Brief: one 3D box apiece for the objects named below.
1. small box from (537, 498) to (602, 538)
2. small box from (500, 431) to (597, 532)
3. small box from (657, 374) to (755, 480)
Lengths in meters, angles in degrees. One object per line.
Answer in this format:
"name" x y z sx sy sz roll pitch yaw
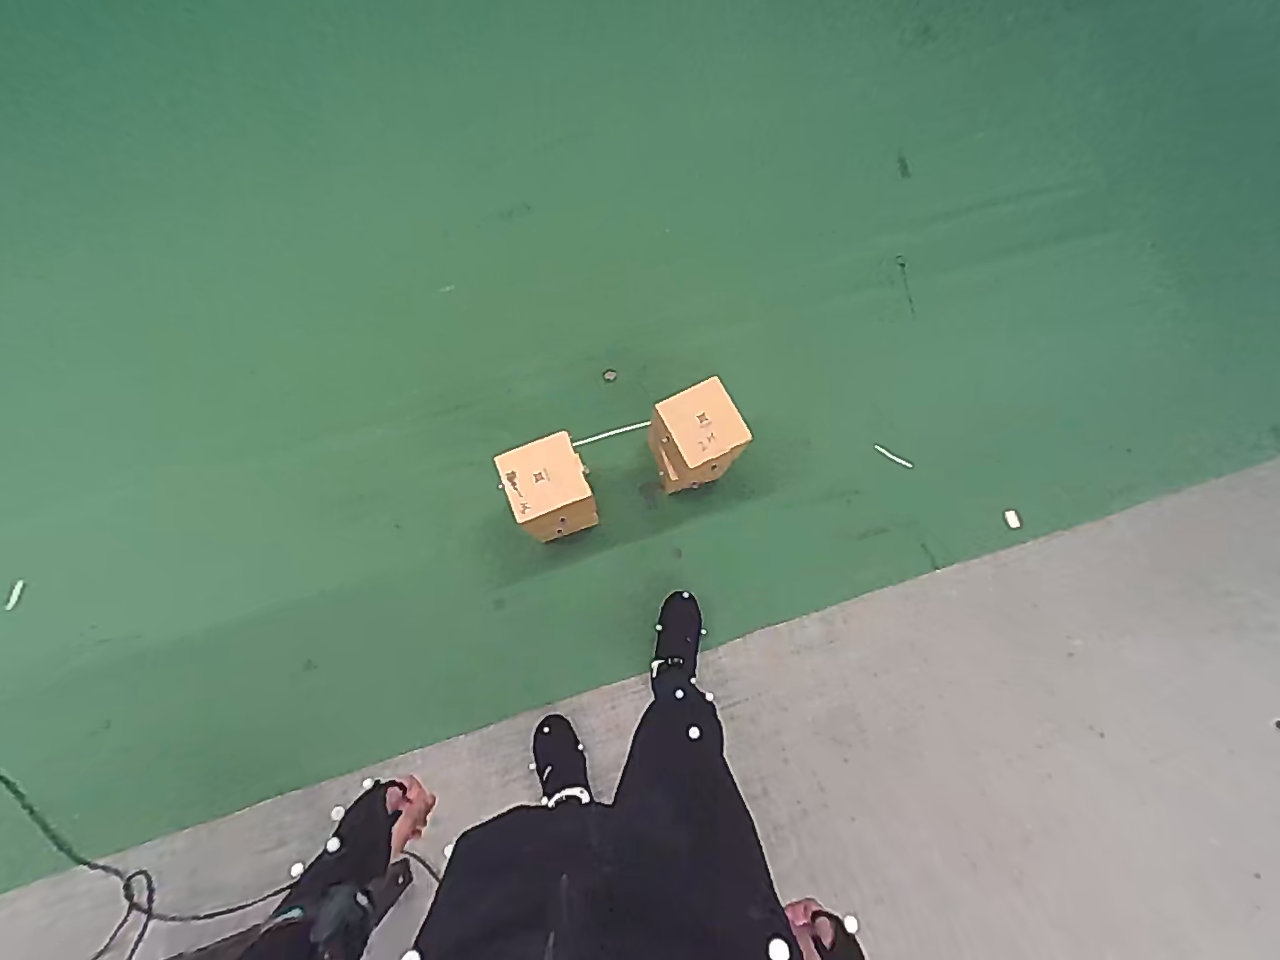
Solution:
"small box" -0.205 0.046 1.433 0.168 0.176 0.179 -19 77 -5
"small box" -0.208 0.009 1.273 0.179 0.176 0.168 -21 77 -7
"small box" 0.149 -0.122 1.308 0.168 0.176 0.179 -27 80 -7
